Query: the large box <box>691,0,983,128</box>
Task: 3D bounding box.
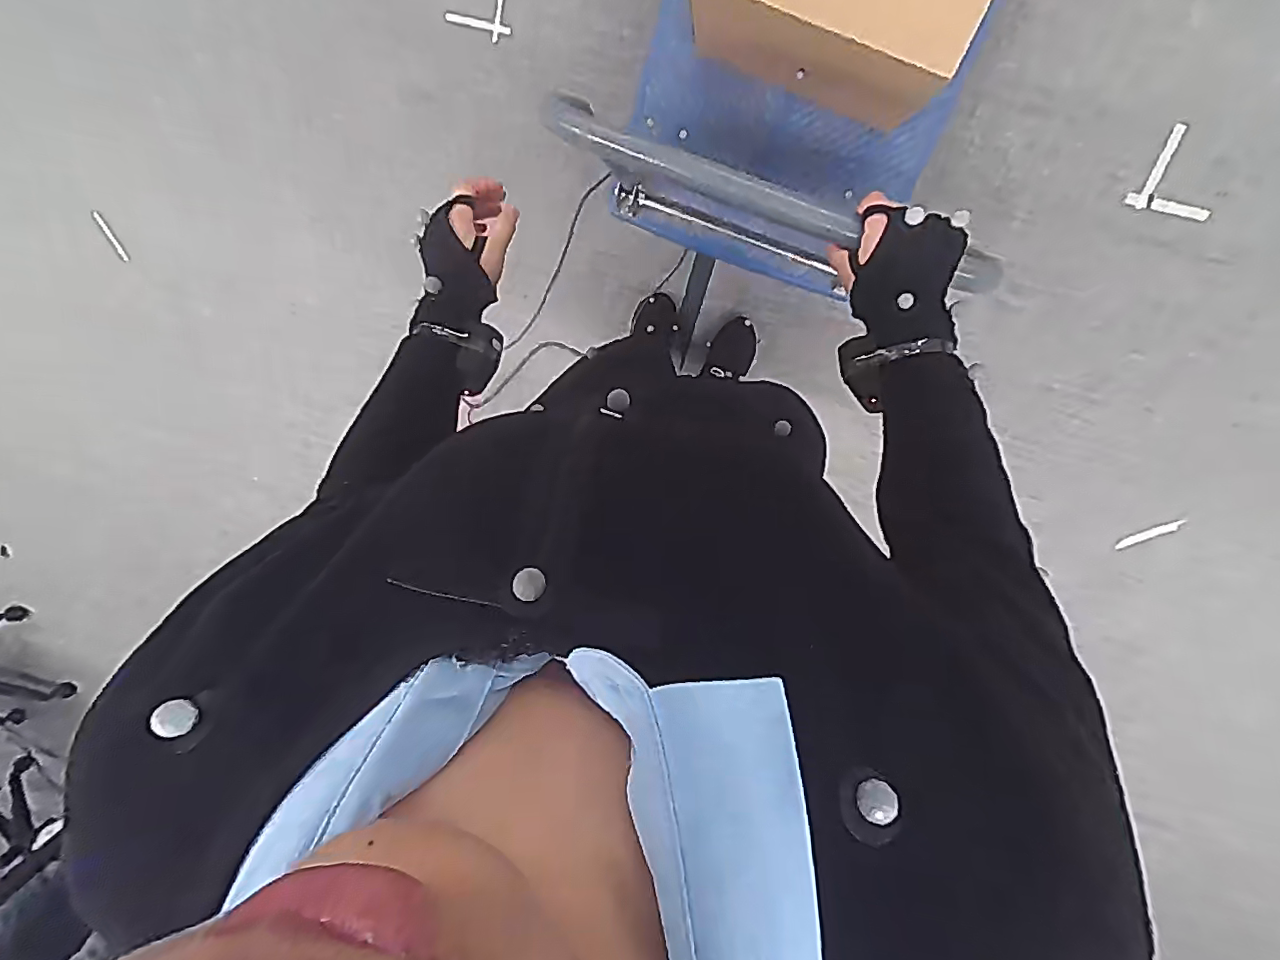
[{"bbox_3d":[0.327,-0.826,0.857,0.408,0.320,0.320,22,111,0],"label":"large box"}]
